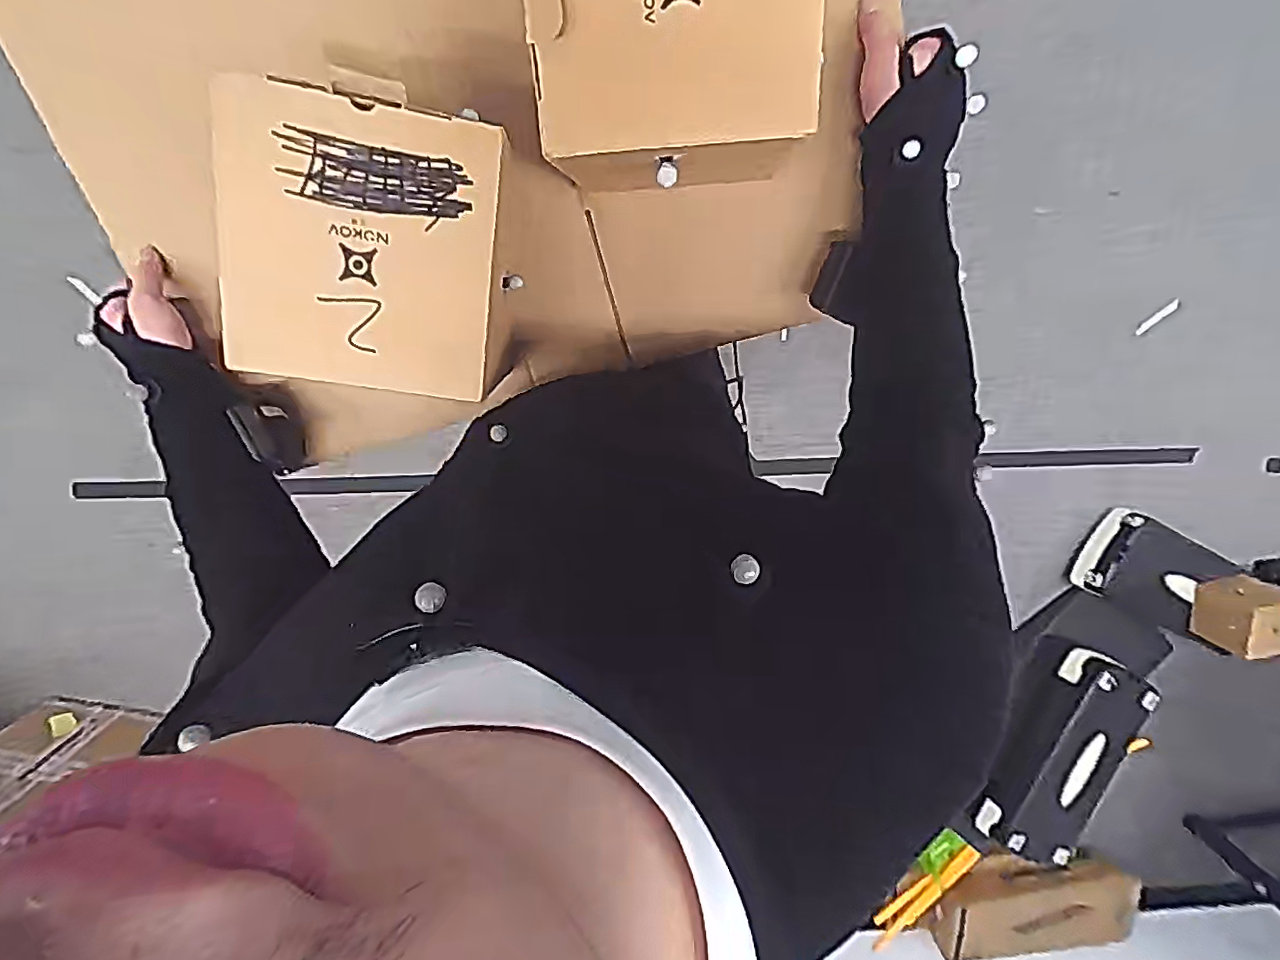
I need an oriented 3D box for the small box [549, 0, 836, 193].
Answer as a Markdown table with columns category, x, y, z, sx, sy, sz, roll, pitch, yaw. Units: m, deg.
| category | x | y | z | sx | sy | sz | roll | pitch | yaw |
| --- | --- | --- | --- | --- | --- | --- | --- | --- | --- |
| small box | 0.038 | -0.318 | 0.402 | 0.179 | 0.176 | 0.168 | 0 | 111 | 6 |
